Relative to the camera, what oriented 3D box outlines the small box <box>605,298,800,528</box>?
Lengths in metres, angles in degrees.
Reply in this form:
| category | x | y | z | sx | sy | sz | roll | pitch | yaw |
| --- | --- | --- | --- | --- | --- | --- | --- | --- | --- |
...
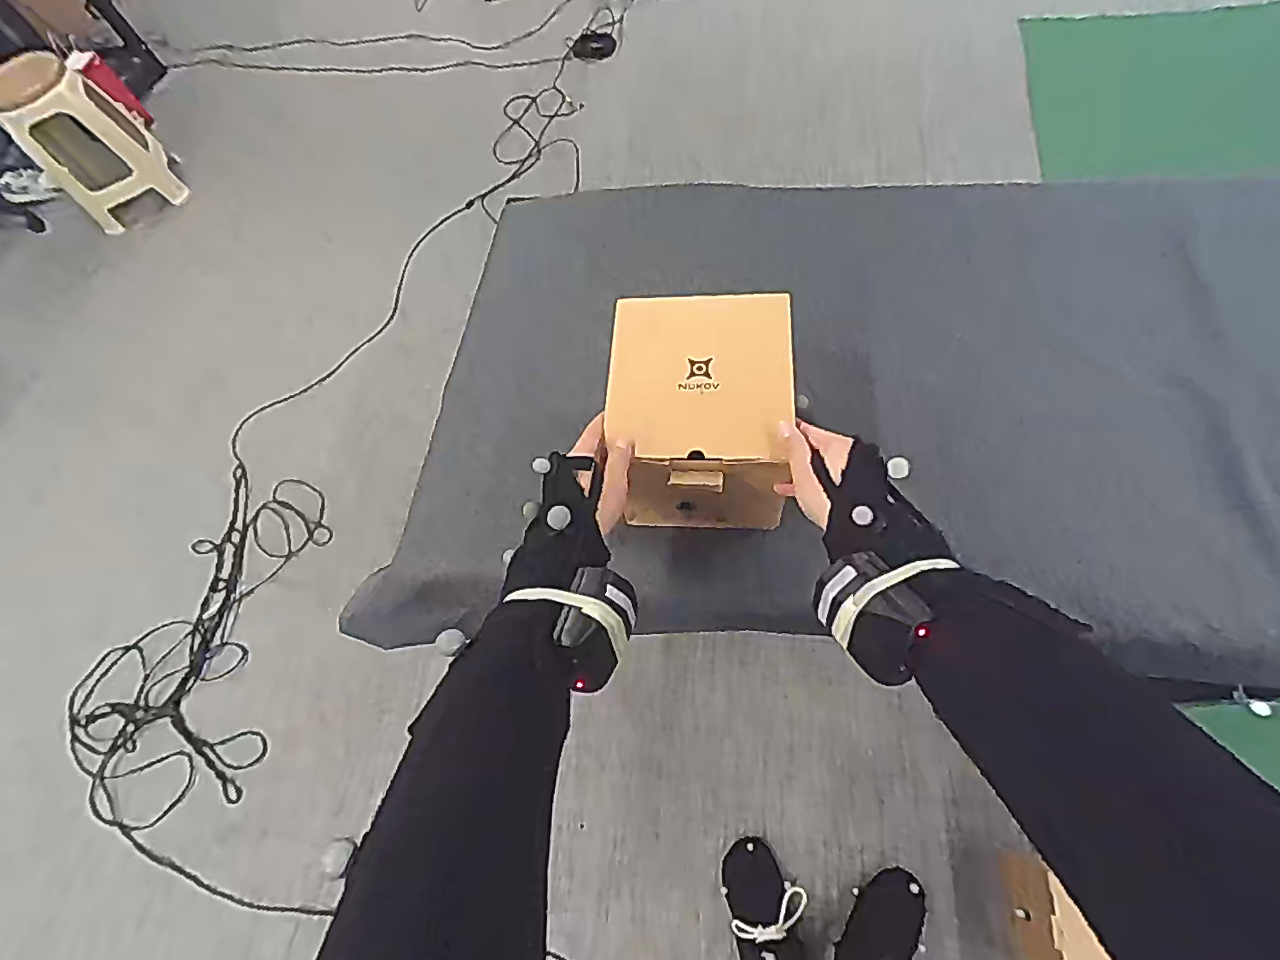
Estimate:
| category | x | y | z | sx | sy | sz | roll | pitch | yaw |
| --- | --- | --- | --- | --- | --- | --- | --- | --- | --- |
| small box | 0.065 | -0.062 | 0.556 | 0.168 | 0.176 | 0.179 | 1 | 66 | 8 |
